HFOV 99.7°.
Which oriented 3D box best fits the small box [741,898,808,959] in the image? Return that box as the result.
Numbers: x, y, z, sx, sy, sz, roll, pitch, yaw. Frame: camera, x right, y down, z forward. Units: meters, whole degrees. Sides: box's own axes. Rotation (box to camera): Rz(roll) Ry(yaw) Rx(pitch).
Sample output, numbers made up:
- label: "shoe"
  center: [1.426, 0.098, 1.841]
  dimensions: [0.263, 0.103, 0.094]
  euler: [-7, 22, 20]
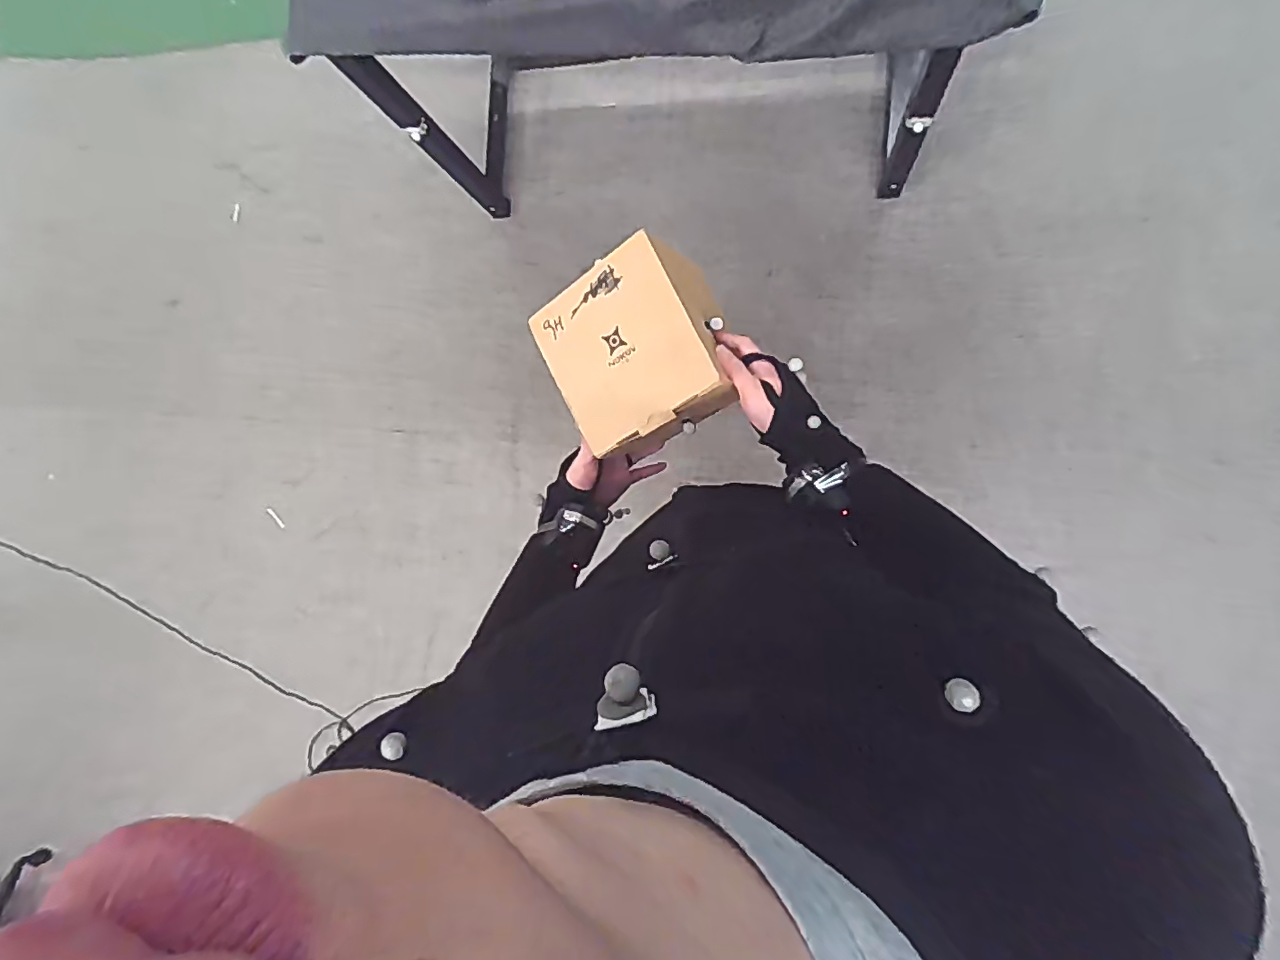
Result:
- label: "small box"
  center: [0.352, 1.257, 1.419]
  dimensions: [0.168, 0.176, 0.179]
  euler: [0, 89, 13]

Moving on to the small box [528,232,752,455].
- label: "small box"
  center: [0.010, -0.150, 0.632]
  dimensions: [0.168, 0.176, 0.179]
  euler: [-29, 86, 26]
